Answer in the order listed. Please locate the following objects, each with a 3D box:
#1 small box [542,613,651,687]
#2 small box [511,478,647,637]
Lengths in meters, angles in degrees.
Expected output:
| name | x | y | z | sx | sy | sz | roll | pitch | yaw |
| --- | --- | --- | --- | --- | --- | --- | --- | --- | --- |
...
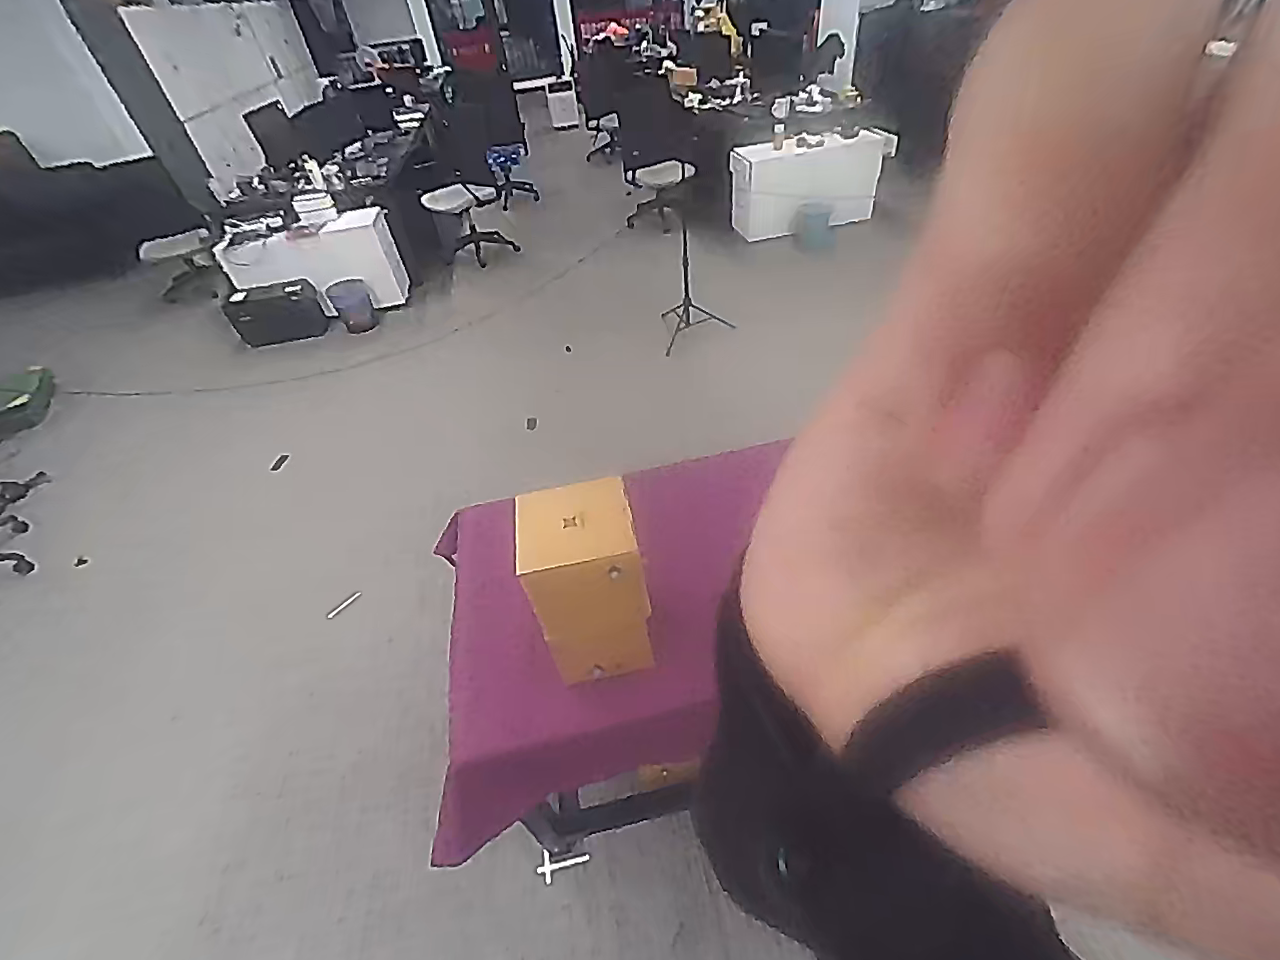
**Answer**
| name | x | y | z | sx | sy | sz | roll | pitch | yaw |
| --- | --- | --- | --- | --- | --- | --- | --- | --- | --- |
| small box | -0.081 | 0.240 | 0.971 | 0.168 | 0.176 | 0.179 | -13 | 44 | -3 |
| small box | -0.095 | 0.126 | 0.857 | 0.179 | 0.176 | 0.168 | -12 | 43 | -3 |
